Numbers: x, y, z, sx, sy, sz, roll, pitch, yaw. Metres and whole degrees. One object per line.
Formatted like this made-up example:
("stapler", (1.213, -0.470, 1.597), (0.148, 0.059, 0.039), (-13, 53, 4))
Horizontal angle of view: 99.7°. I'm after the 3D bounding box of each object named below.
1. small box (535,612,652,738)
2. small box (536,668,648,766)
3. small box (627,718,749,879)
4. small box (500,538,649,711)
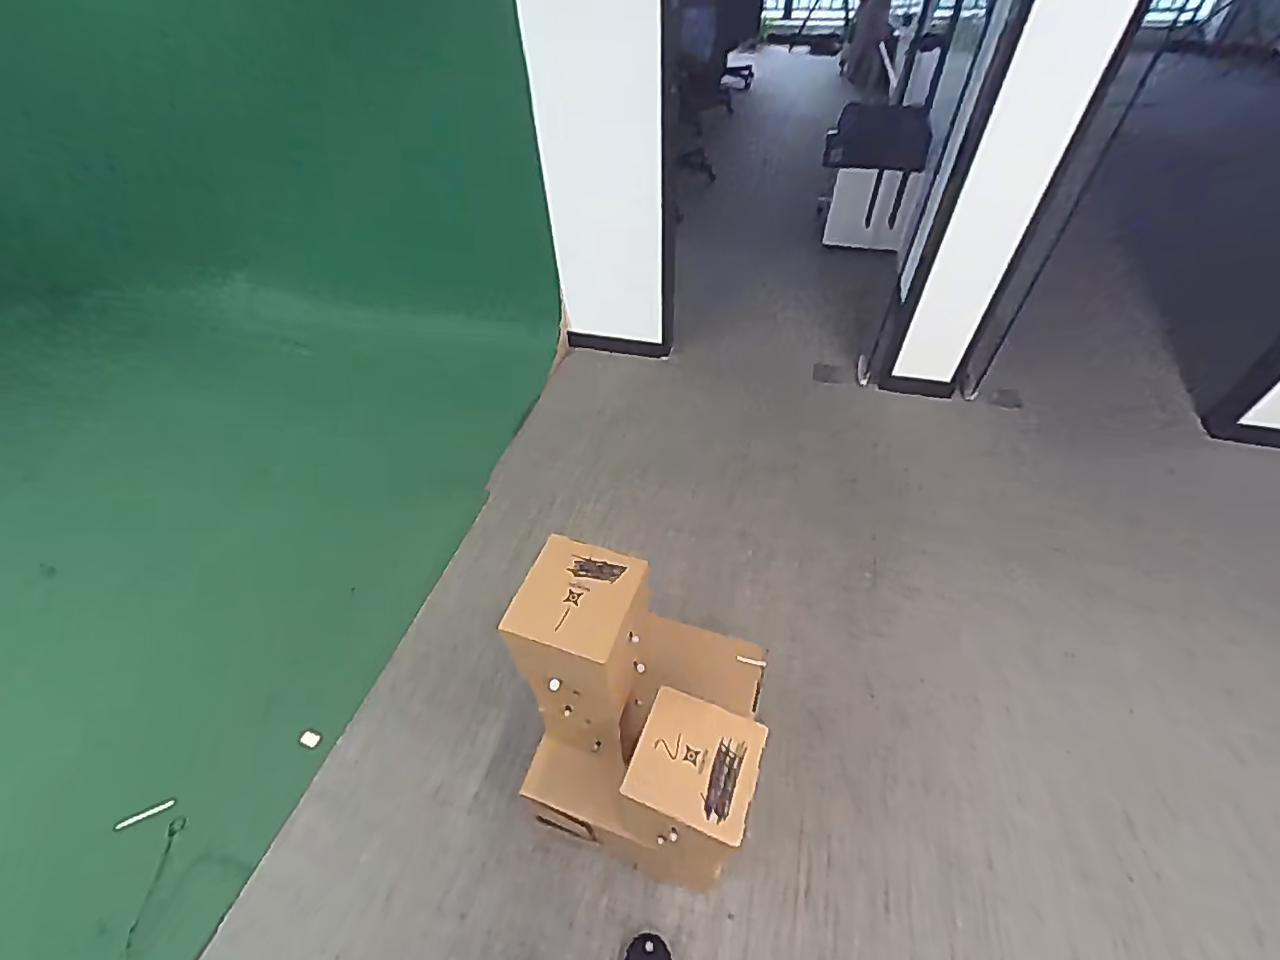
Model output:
("small box", (-0.083, 0.328, 0.969), (0.168, 0.176, 0.179), (14, 50, 14))
("small box", (-0.084, 0.442, 1.086), (0.168, 0.176, 0.179), (14, 47, 15))
("small box", (0.084, 0.565, 0.959), (0.168, 0.176, 0.179), (15, 48, 16))
("small box", (-0.091, 0.224, 0.842), (0.168, 0.176, 0.179), (14, 49, 15))
